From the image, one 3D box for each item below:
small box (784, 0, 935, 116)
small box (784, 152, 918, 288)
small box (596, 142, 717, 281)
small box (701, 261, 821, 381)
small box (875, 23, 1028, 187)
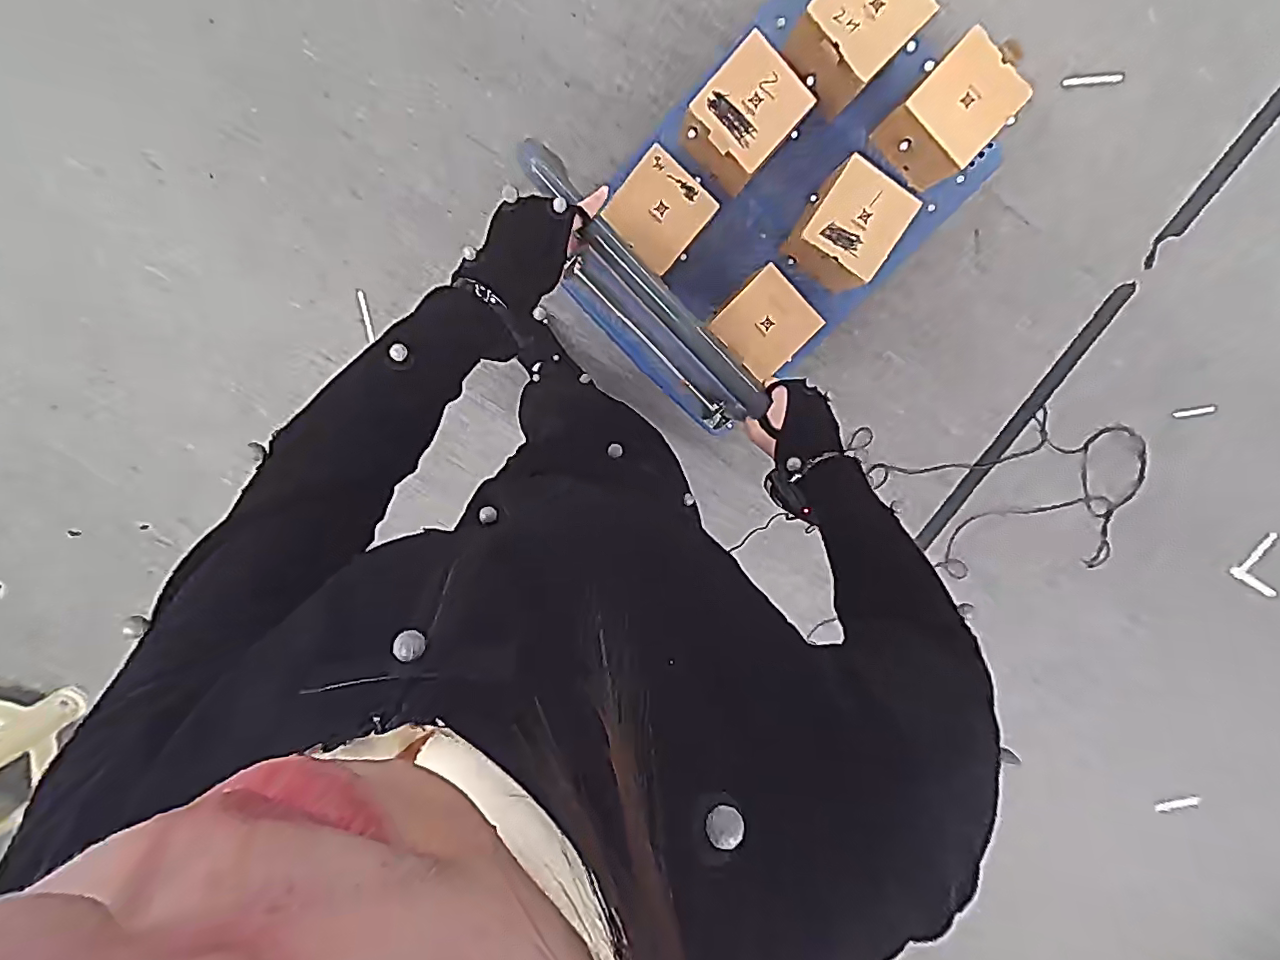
[{"bbox_3d":[0.405,-0.853,1.031,0.179,0.176,0.168,-43,100,9],"label":"small box"},{"bbox_3d":[0.418,-0.520,1.113,0.168,0.176,0.179,32,100,-8],"label":"small box"},{"bbox_3d":[0.030,-0.530,1.100,0.168,0.176,0.179,40,100,-11],"label":"small box"},{"bbox_3d":[0.247,-0.332,1.155,0.168,0.176,0.179,44,98,-11],"label":"small box"},{"bbox_3d":[0.596,-0.722,1.070,0.168,0.176,0.179,41,99,-10],"label":"small box"}]
